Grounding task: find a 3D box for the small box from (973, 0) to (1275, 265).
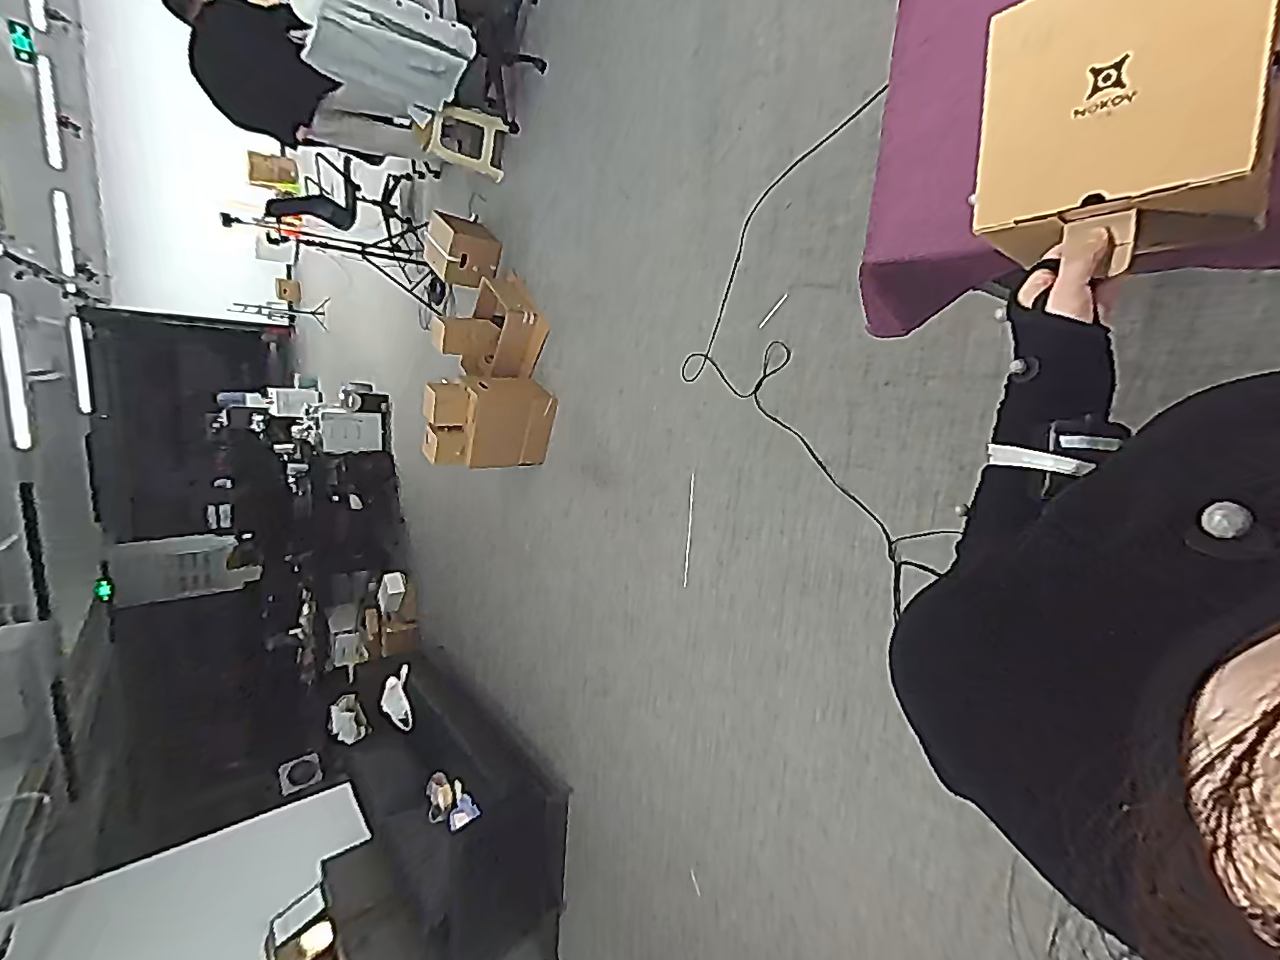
[{"bbox_3d":[0.417,-0.306,0.471,0.168,0.176,0.179,9,101,48],"label":"small box"}]
